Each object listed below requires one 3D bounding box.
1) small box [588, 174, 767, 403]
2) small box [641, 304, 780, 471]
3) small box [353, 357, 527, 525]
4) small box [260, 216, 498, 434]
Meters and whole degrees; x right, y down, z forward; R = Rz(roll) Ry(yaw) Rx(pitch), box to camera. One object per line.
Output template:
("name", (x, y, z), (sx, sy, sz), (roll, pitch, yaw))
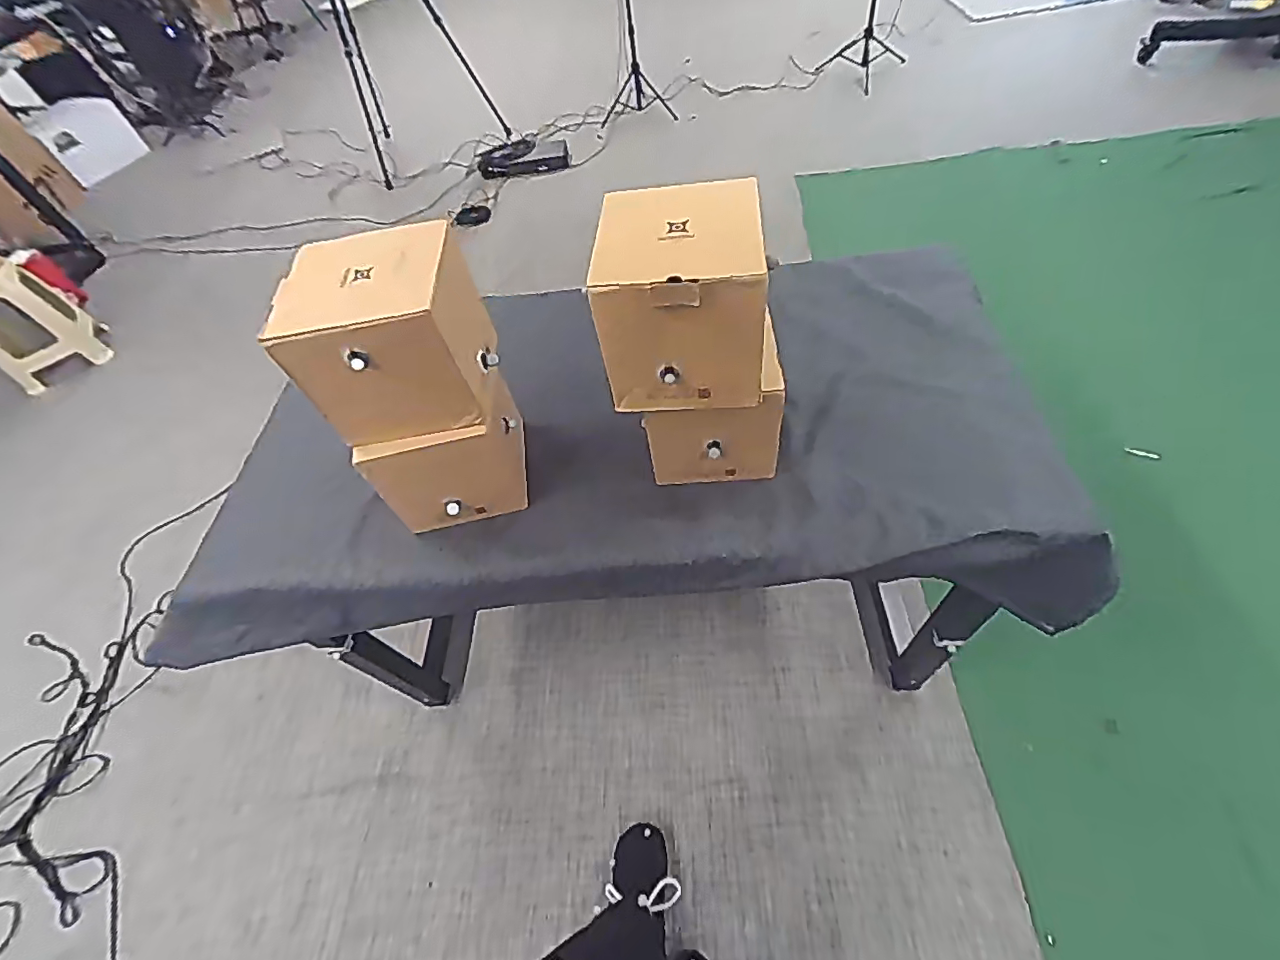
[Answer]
("small box", (0.047, -0.206, 0.599), (0.168, 0.176, 0.179), (-2, 55, 8))
("small box", (0.093, -0.124, 0.735), (0.168, 0.176, 0.179), (-4, 55, 6))
("small box", (-0.262, -0.065, 0.748), (0.168, 0.176, 0.179), (-13, 55, 0))
("small box", (-0.280, -0.171, 0.626), (0.179, 0.176, 0.168), (-9, 55, 1))
